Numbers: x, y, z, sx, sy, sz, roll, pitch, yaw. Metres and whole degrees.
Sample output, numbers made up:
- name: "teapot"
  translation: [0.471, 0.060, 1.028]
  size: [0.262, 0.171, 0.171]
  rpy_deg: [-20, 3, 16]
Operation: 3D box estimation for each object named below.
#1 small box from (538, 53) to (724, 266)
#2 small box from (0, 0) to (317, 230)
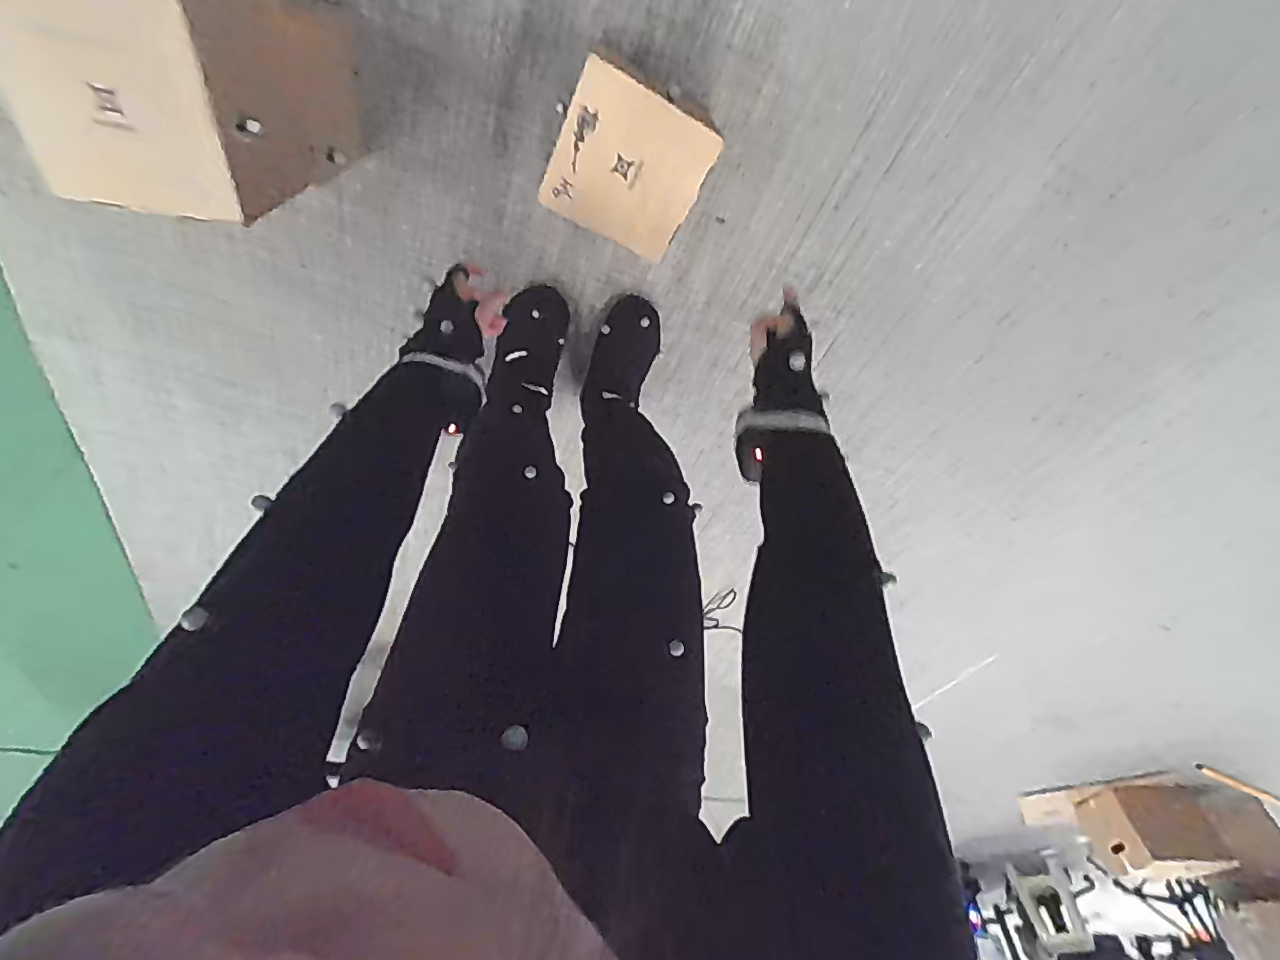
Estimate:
- name: "small box"
  translation: [-0.015, -0.423, 0.711]
  size: [0.179, 0.176, 0.168]
  rpy_deg: [21, 128, -20]
- name: "small box"
  translation: [-0.444, -0.374, 0.525]
  size: [0.168, 0.176, 0.179]
  rpy_deg: [7, 131, -9]
